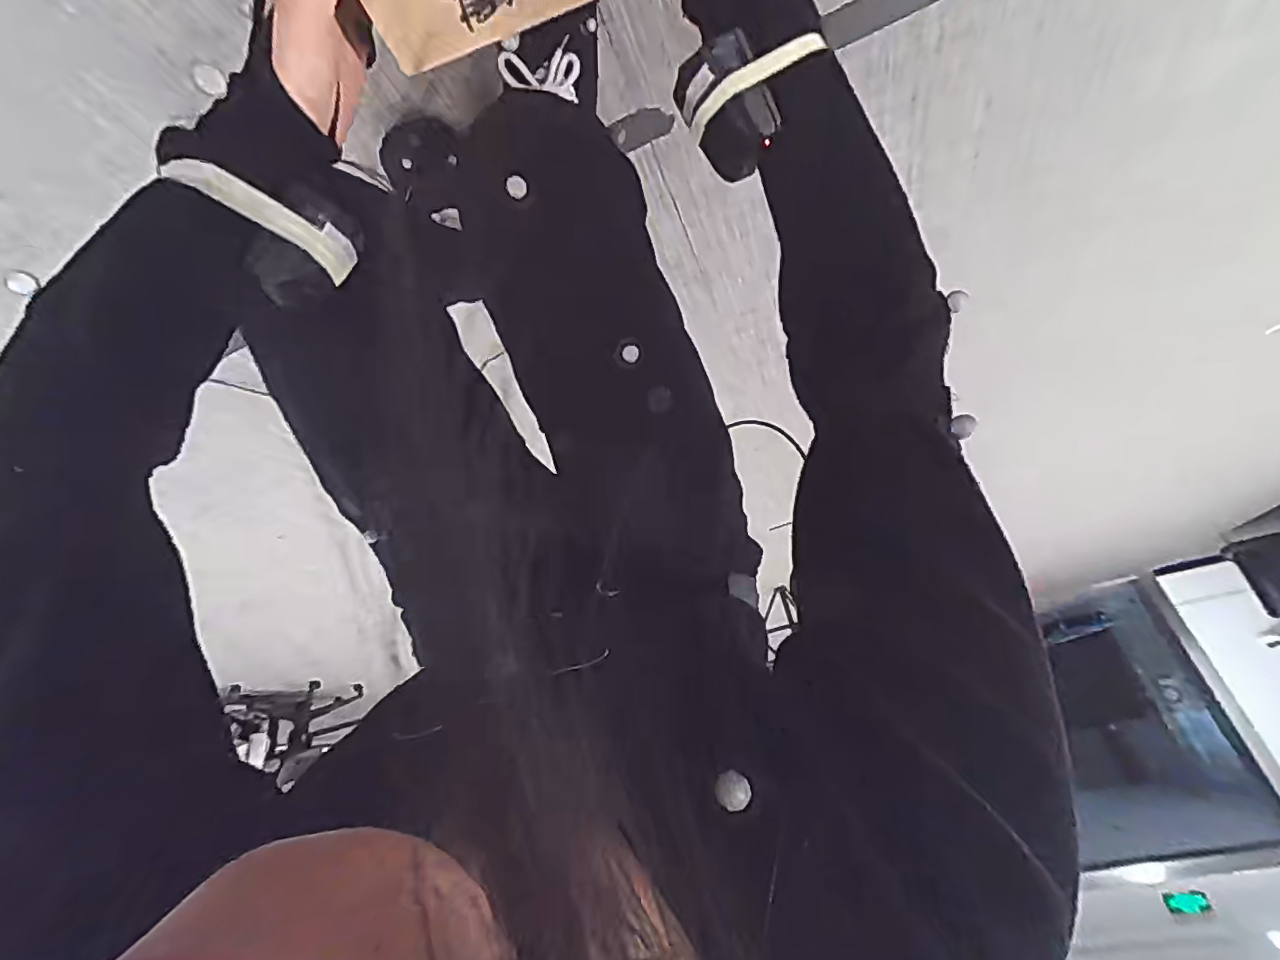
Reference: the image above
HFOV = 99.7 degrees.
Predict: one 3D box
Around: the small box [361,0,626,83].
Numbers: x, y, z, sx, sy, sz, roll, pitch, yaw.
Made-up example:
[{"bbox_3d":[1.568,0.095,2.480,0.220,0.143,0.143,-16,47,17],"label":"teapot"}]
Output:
[{"bbox_3d":[-0.092,-0.360,0.275,0.168,0.176,0.179,-16,149,8],"label":"small box"}]
